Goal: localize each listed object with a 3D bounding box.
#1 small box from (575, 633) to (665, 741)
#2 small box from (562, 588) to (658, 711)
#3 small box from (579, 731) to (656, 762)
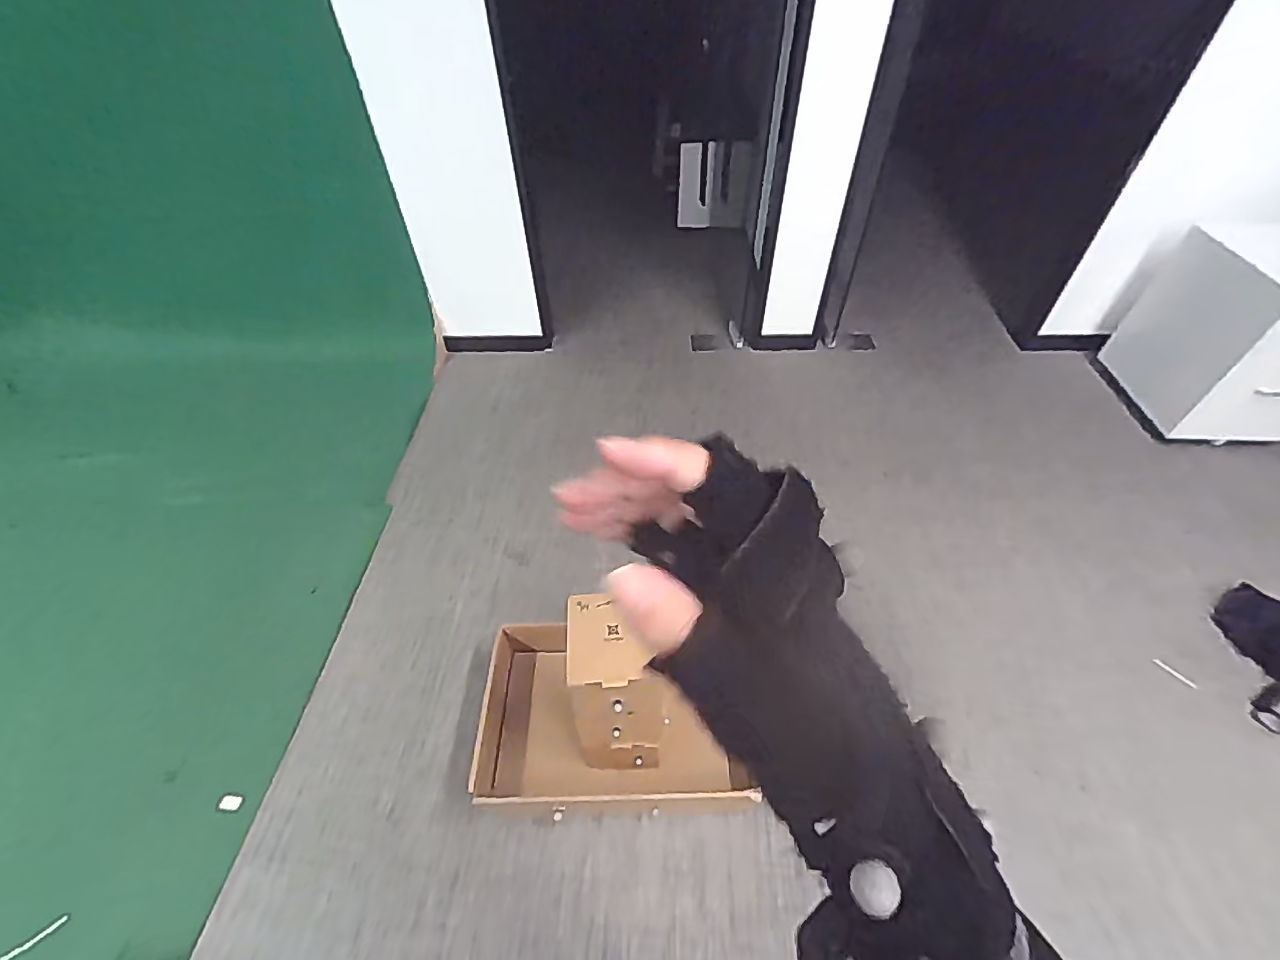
[{"bbox_3d":[-0.046,0.441,1.151,0.179,0.176,0.168,-3,48,-3],"label":"small box"},{"bbox_3d":[-0.053,0.329,1.032,0.168,0.176,0.179,-4,48,-2],"label":"small box"},{"bbox_3d":[-0.046,0.549,1.274,0.168,0.176,0.179,0,46,1],"label":"small box"}]
